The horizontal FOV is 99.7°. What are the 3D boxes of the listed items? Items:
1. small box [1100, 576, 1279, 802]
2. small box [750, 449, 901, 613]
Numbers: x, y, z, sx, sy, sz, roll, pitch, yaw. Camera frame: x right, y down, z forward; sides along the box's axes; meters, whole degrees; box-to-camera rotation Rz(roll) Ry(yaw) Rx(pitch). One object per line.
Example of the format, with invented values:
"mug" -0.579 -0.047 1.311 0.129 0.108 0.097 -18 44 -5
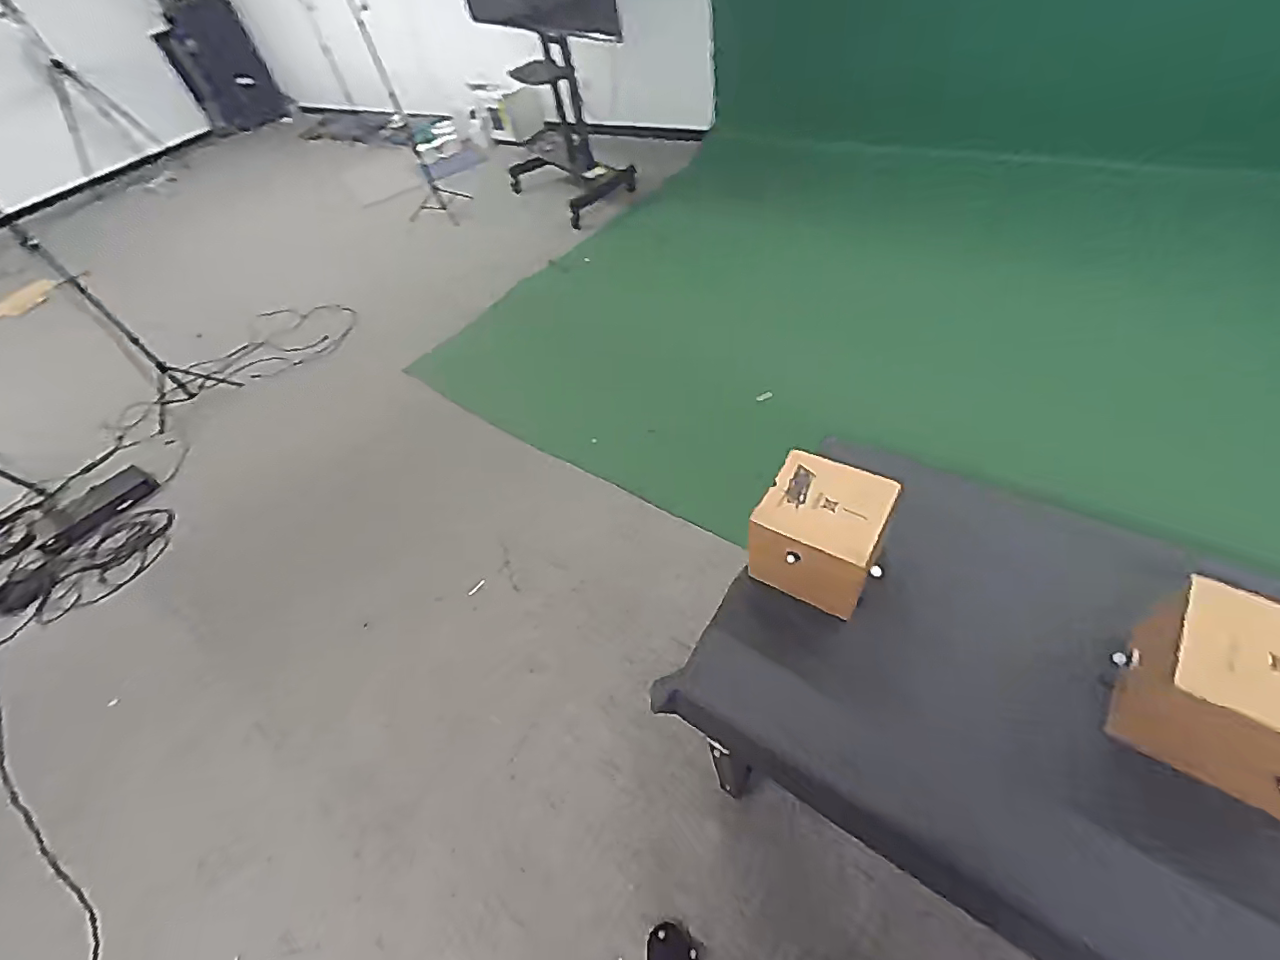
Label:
"small box" 0.708 0.254 0.649 0.179 0.176 0.168 23 55 28
"small box" 0.286 0.085 0.866 0.179 0.176 0.168 23 56 25
